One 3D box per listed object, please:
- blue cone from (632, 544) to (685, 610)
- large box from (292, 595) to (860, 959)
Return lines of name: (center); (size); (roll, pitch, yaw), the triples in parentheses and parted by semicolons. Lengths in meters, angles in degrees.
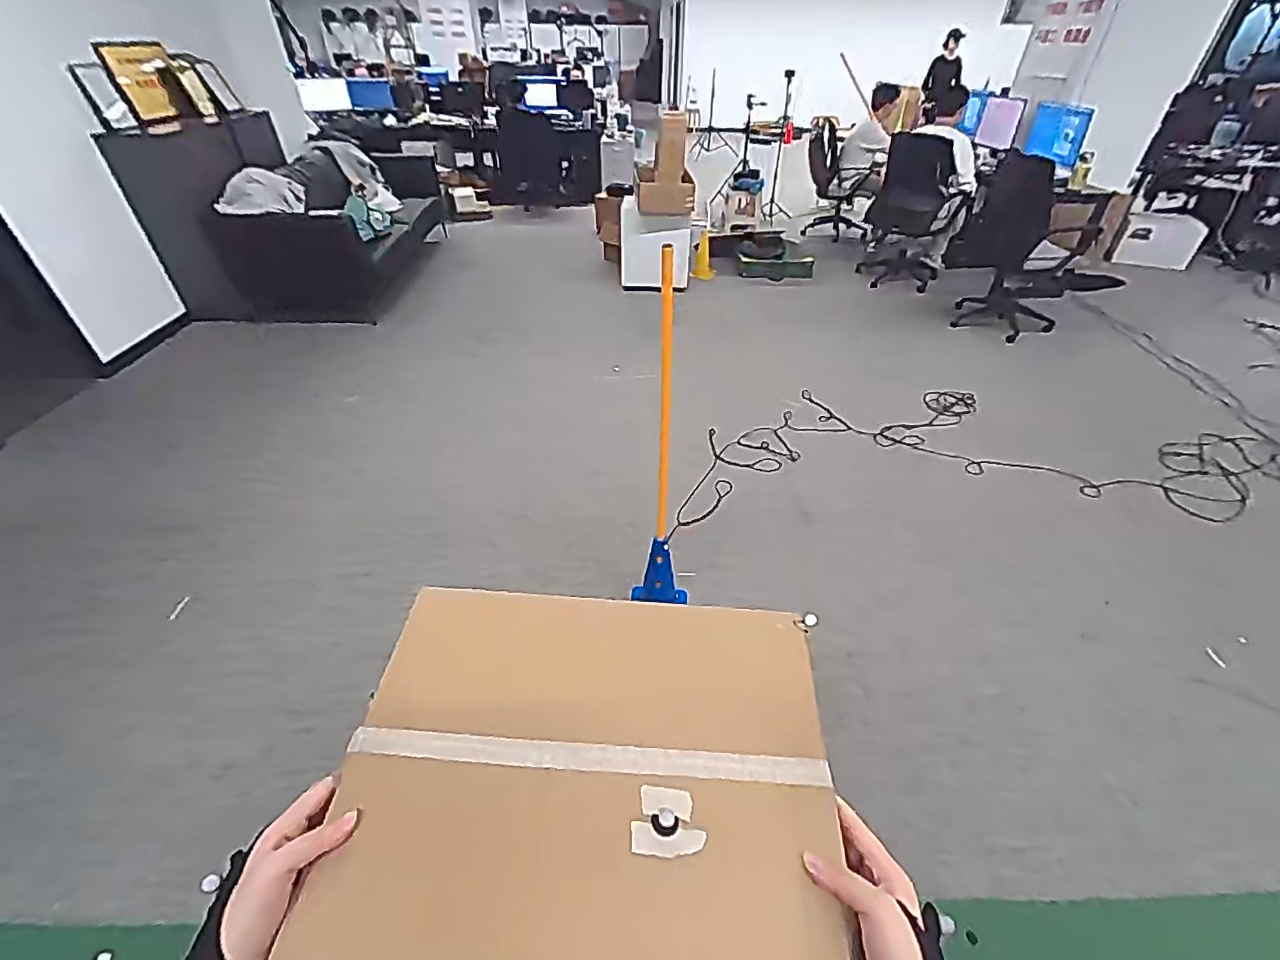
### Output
blue cone: (0.061, 0.343, 1.764); (0.193, 0.380, 0.192); (5, 39, 6)
large box: (-0.044, 0.348, 0.576); (0.408, 0.320, 0.320); (4, 45, 1)
